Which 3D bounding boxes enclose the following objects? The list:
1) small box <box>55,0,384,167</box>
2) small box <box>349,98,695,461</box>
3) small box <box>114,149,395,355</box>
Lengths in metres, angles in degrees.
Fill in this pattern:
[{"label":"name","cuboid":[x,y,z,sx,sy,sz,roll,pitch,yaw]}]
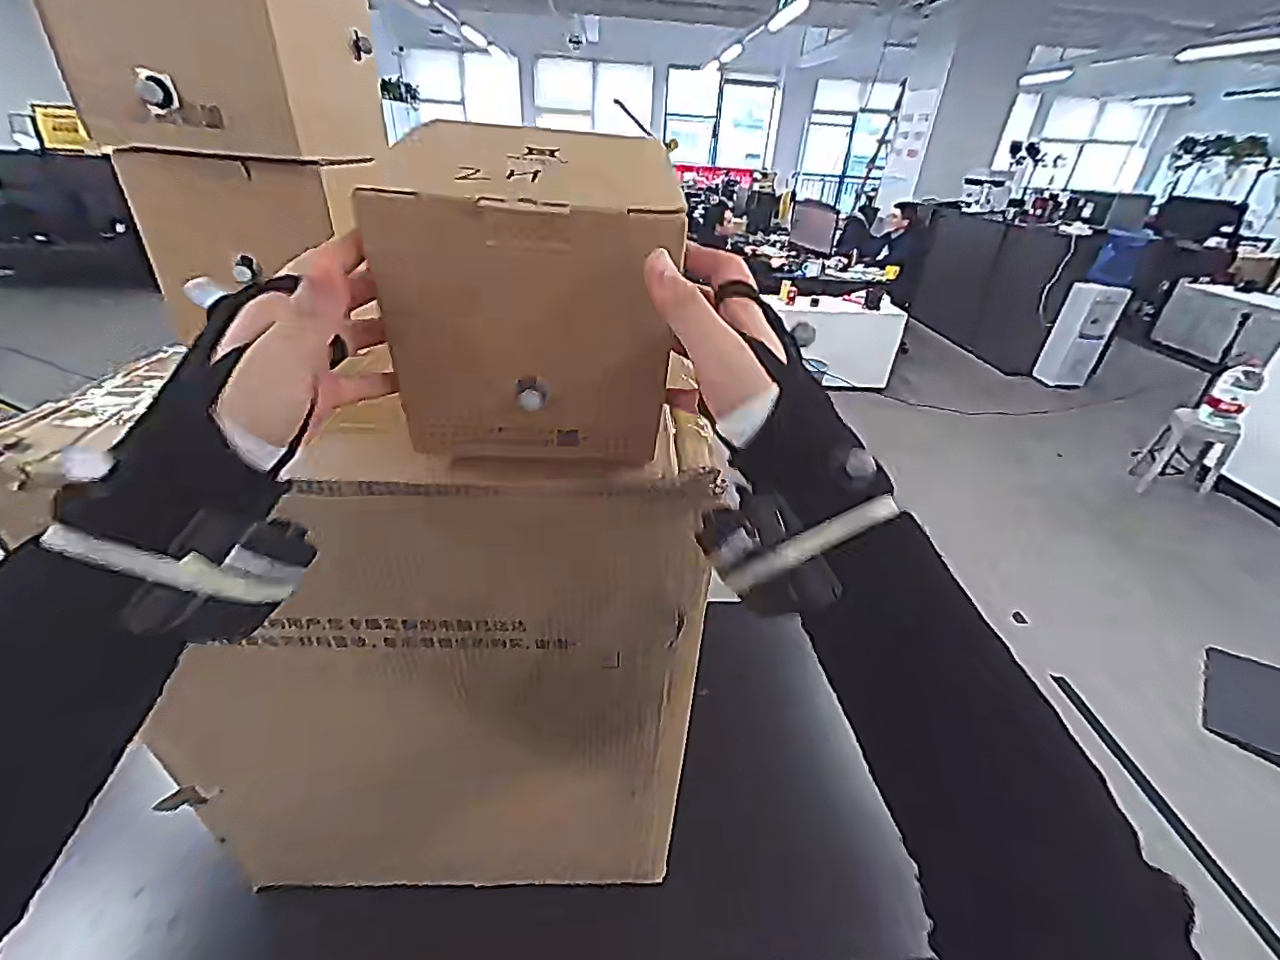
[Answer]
[{"label":"small box","cuboid":[-0.333,-0.365,0.449,0.168,0.176,0.179,2,32,-2]},{"label":"small box","cuboid":[-0.065,-0.135,0.368,0.168,0.176,0.179,2,45,-5]},{"label":"small box","cuboid":[-0.346,-0.234,0.547,0.168,0.176,0.179,2,32,-4]}]
